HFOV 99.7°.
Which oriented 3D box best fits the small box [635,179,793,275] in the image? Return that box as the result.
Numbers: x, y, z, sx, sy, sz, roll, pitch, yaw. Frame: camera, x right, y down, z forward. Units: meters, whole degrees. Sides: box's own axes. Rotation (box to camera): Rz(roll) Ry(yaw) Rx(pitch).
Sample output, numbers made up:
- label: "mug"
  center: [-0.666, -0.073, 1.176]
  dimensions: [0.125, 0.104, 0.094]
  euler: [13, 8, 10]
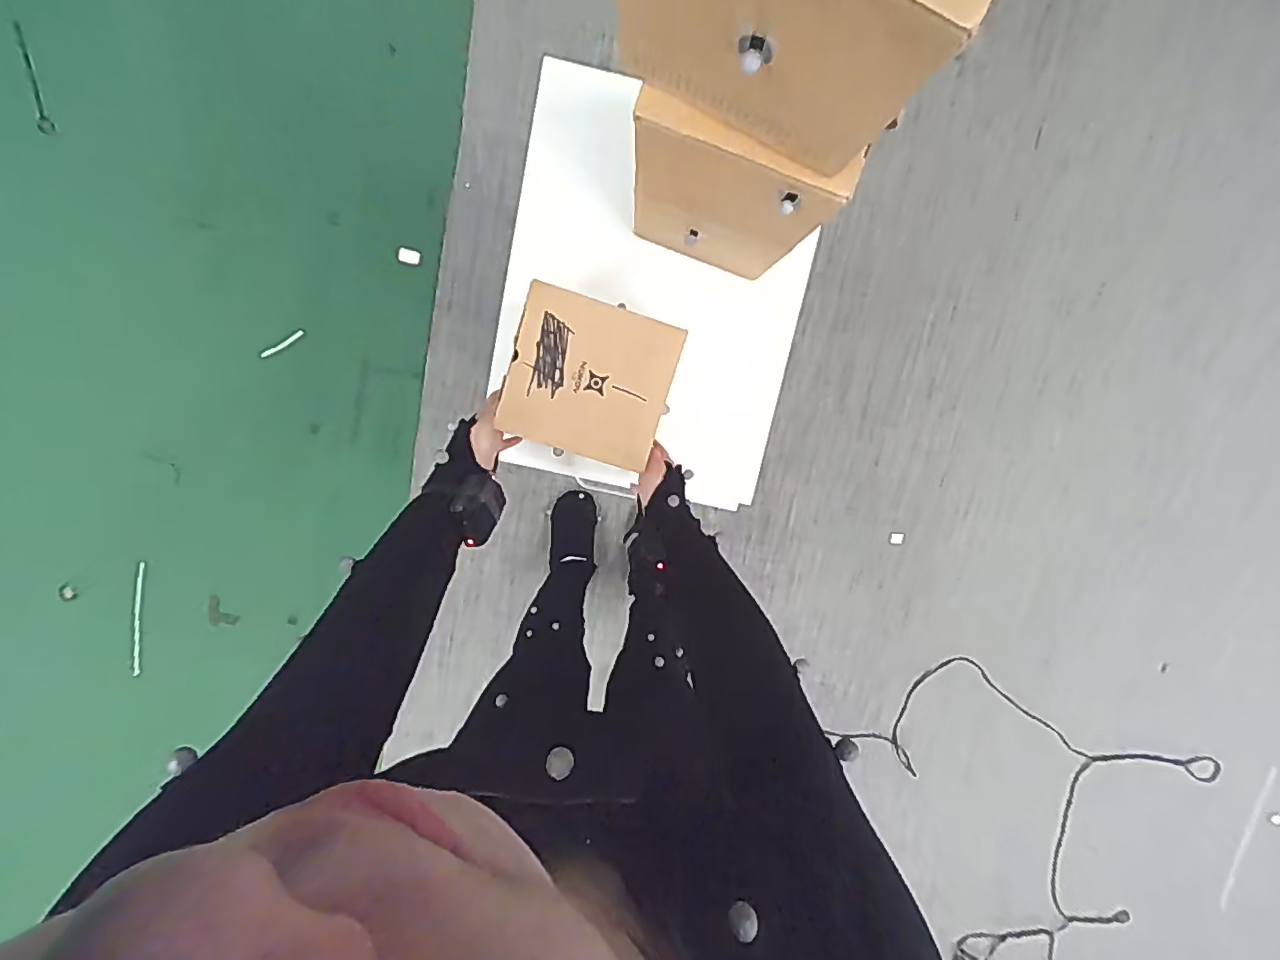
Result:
- label: "small box"
  center: [0.101, -0.357, 0.628]
  dimensions: [0.179, 0.176, 0.168]
  euler: [19, 99, -4]

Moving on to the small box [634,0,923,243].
- label: "small box"
  center: [0.100, -0.328, 0.467]
  dimensions: [0.179, 0.176, 0.168]
  euler: [18, 99, -5]

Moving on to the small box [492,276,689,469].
- label: "small box"
  center: [-0.058, -0.124, 0.660]
  dimensions: [0.179, 0.176, 0.168]
  euler: [18, 98, -6]
